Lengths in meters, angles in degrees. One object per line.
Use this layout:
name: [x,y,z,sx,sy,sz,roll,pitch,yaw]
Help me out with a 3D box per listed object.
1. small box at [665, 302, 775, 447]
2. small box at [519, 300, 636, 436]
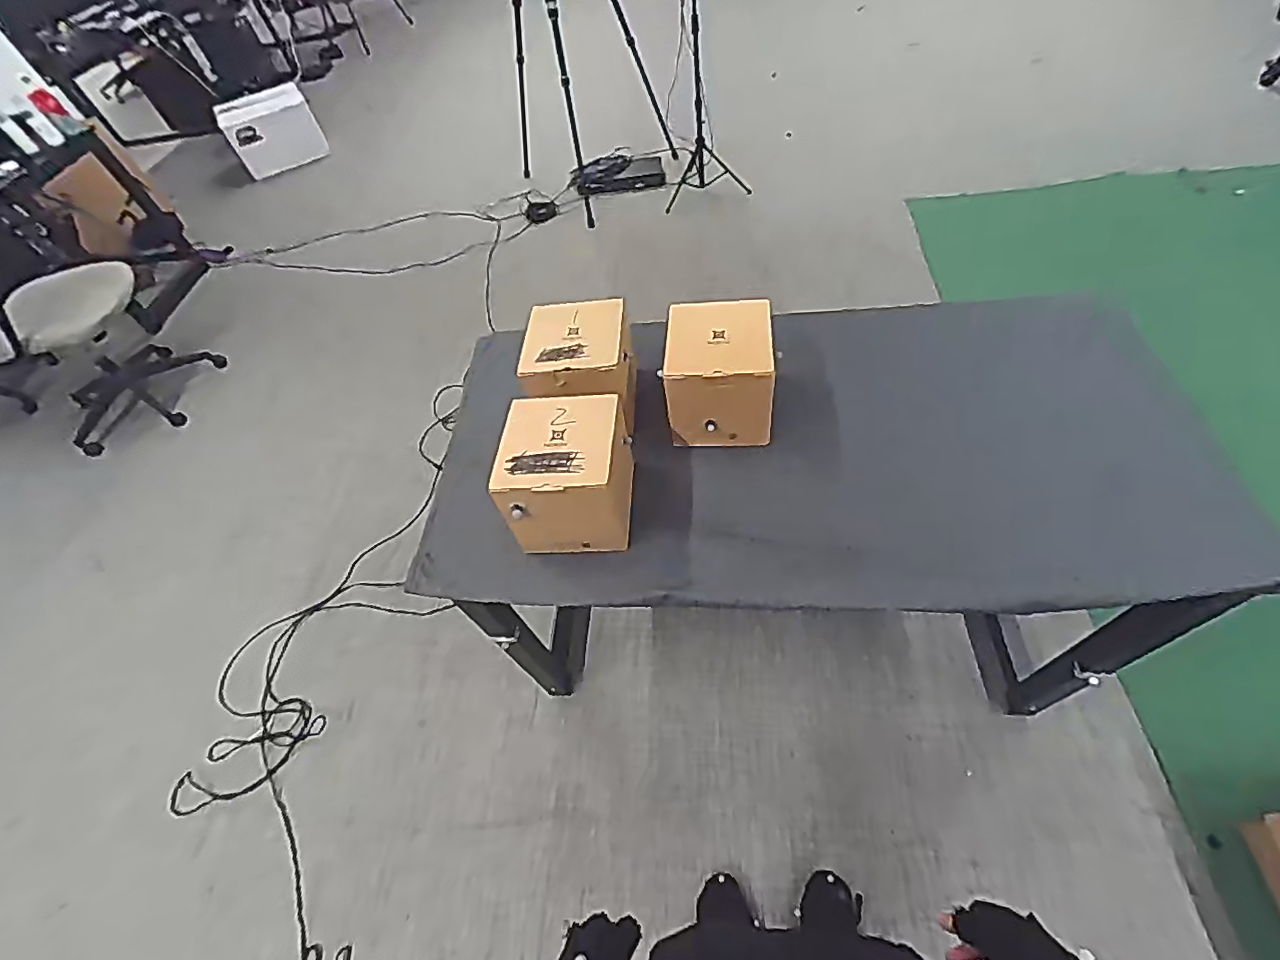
small box: [0.135,-0.176,0.915,0.168,0.176,0.179,0,55,9]
small box: [-0.100,-0.191,0.963,0.168,0.176,0.179,-3,53,7]
